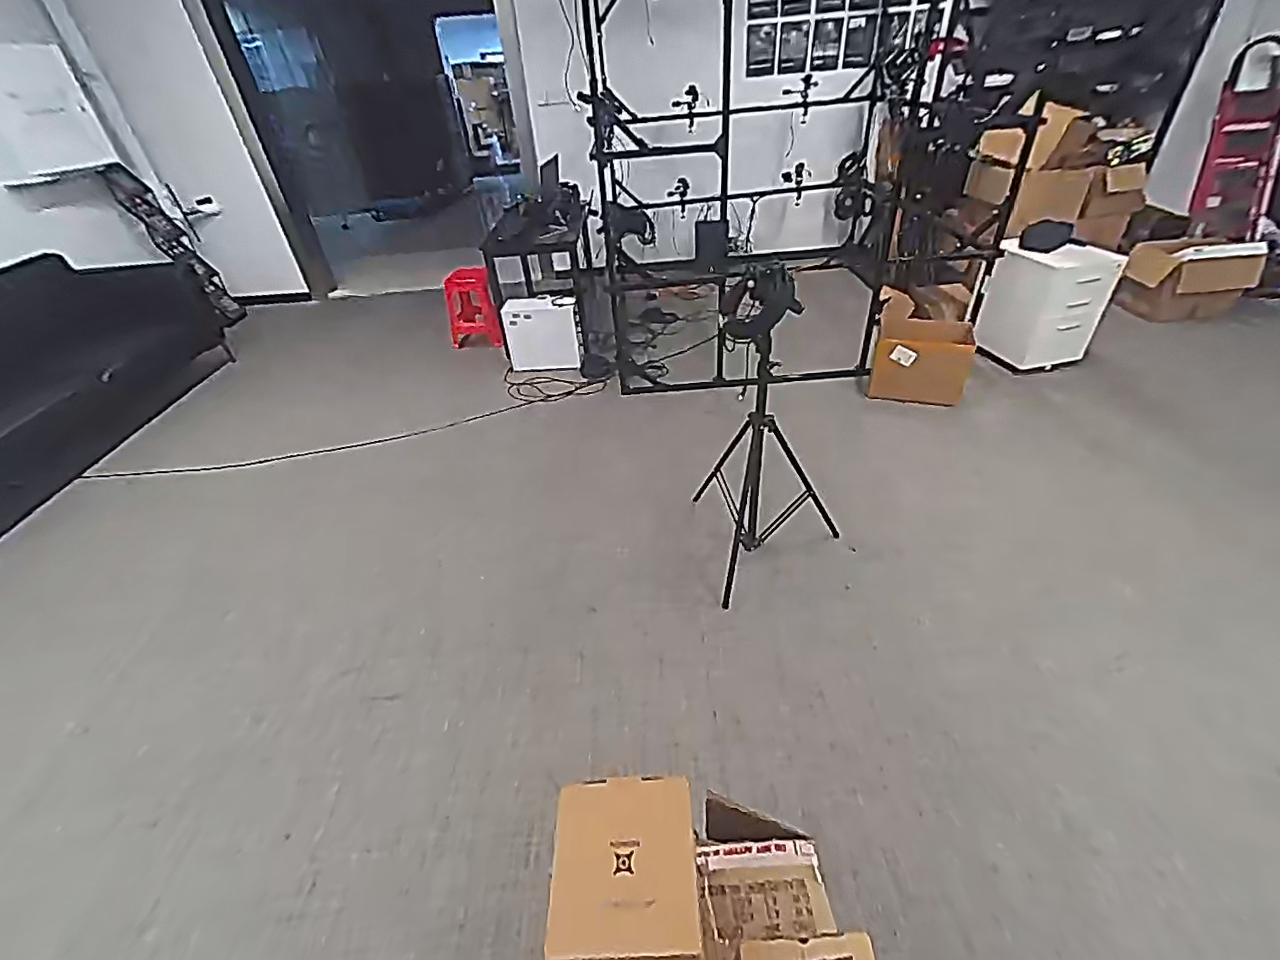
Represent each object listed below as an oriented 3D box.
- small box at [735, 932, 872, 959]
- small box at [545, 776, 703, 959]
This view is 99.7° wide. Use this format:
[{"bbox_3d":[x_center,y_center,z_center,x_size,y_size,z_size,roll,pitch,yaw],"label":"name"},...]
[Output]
[{"bbox_3d":[0.207,0.691,0.665,0.168,0.176,0.179,-3,39,1],"label":"small box"},{"bbox_3d":[-0.012,0.497,0.672,0.168,0.176,0.179,-5,39,3],"label":"small box"}]
